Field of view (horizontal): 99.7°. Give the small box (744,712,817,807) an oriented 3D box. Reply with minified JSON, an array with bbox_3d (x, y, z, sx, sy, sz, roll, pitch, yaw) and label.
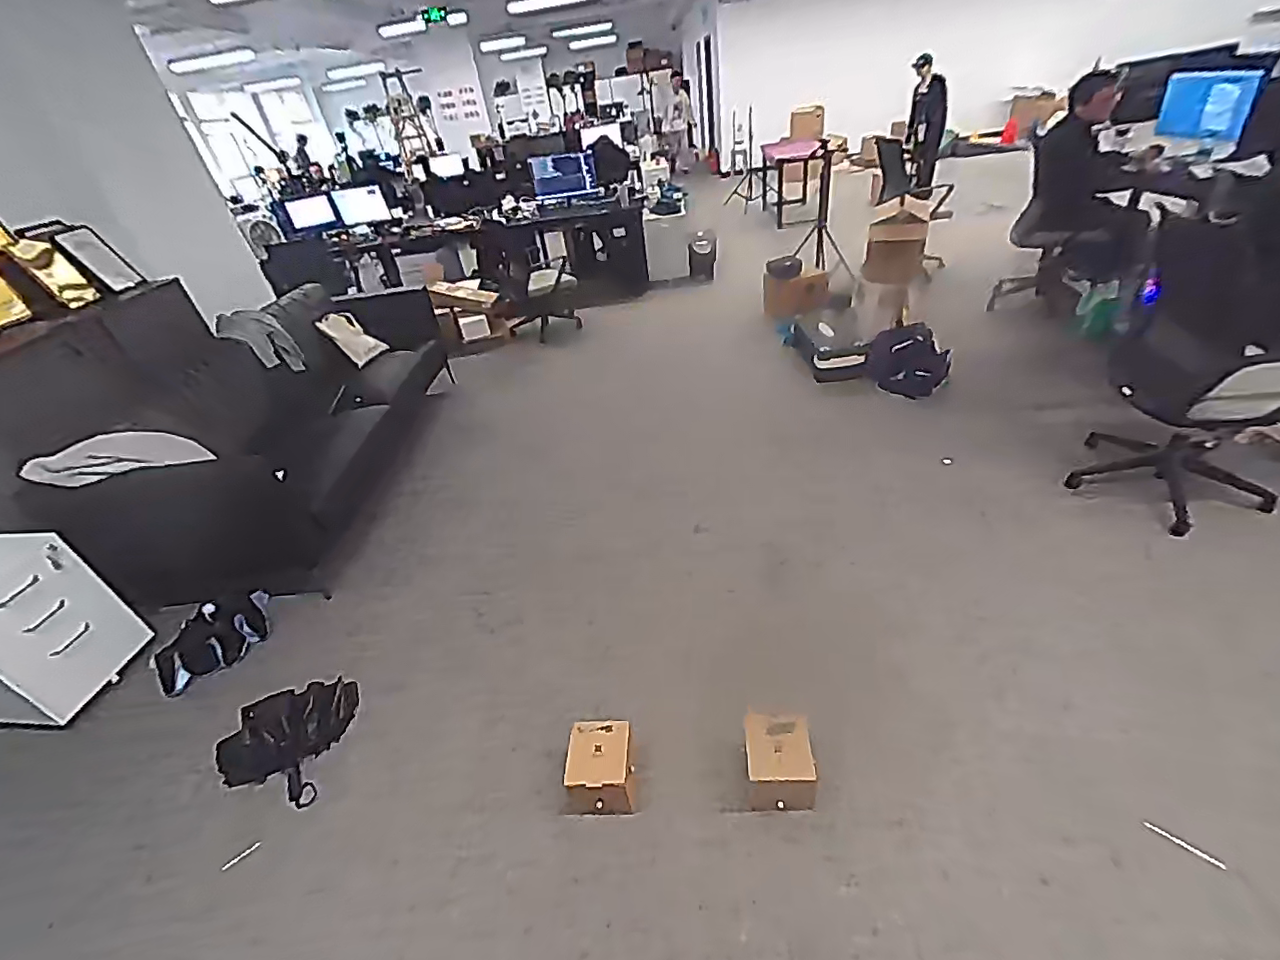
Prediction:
[{"bbox_3d":[0.373,0.754,1.459,0.168,0.176,0.179,-6,37,8],"label":"small box"}]

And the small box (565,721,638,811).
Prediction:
[{"bbox_3d":[-0.099,0.801,1.510,0.168,0.176,0.179,-5,36,7],"label":"small box"}]
